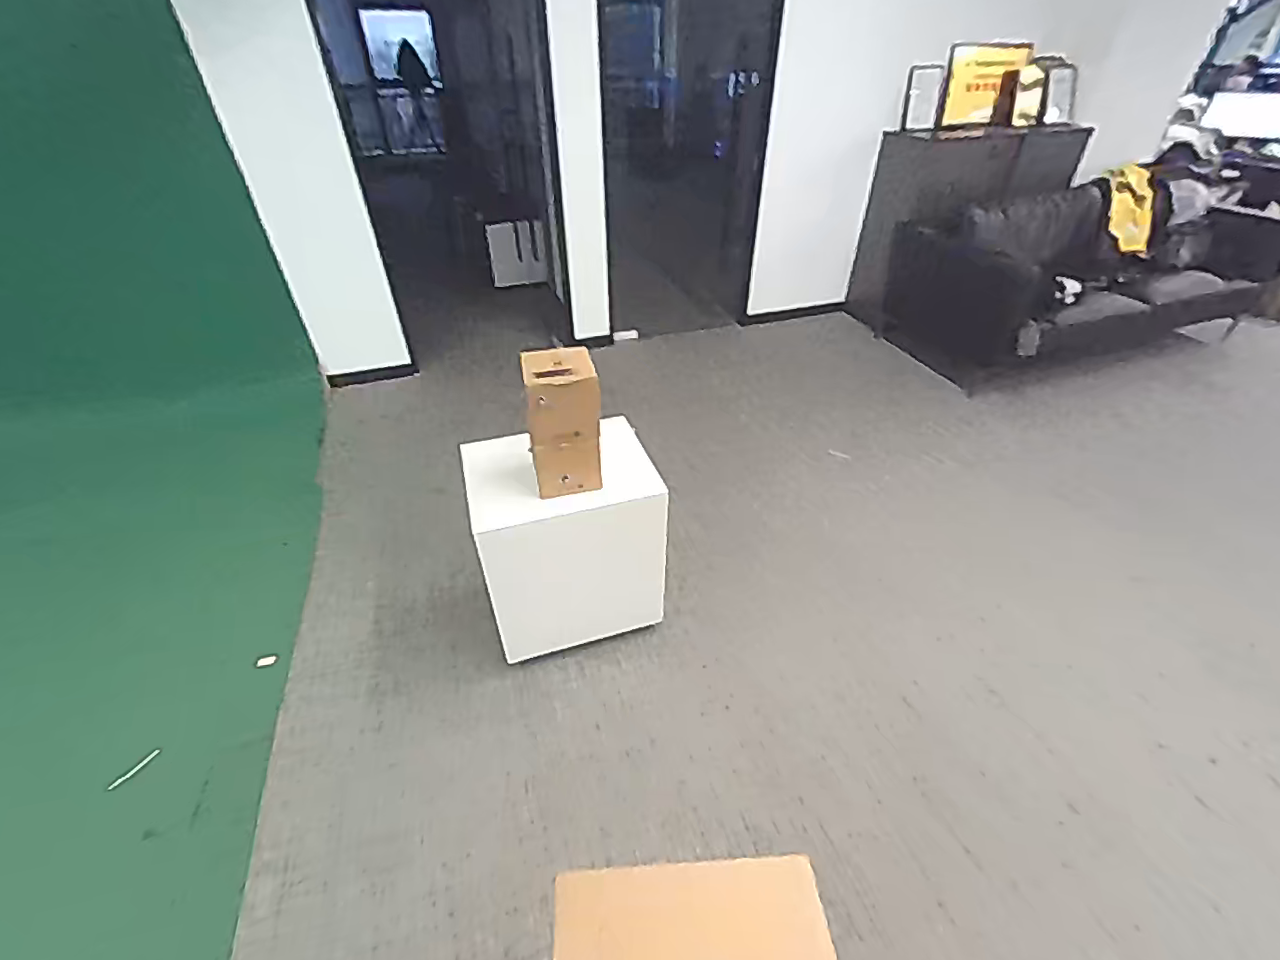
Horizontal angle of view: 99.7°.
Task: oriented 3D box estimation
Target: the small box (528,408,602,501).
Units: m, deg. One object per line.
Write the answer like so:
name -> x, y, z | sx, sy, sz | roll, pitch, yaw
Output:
small box -> -0.198, -0.069, 1.428 | 0.168, 0.176, 0.179 | -10, 38, -12
